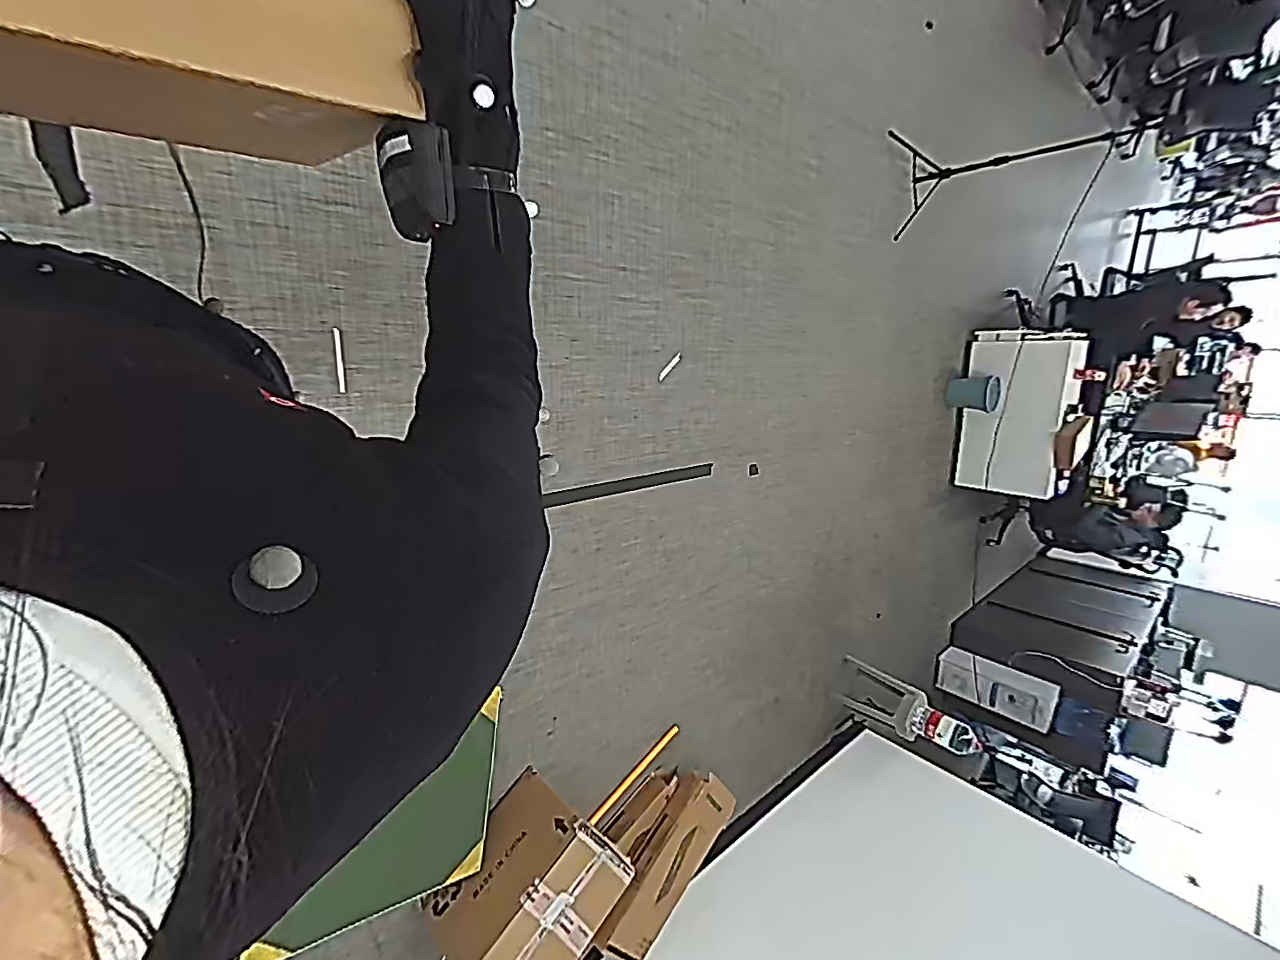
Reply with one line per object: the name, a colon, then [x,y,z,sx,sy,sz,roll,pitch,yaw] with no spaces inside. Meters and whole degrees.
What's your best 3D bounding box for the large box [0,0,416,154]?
large box: [-0.389,-0.396,0.288,0.408,0.320,0.320,-14,119,-39]
